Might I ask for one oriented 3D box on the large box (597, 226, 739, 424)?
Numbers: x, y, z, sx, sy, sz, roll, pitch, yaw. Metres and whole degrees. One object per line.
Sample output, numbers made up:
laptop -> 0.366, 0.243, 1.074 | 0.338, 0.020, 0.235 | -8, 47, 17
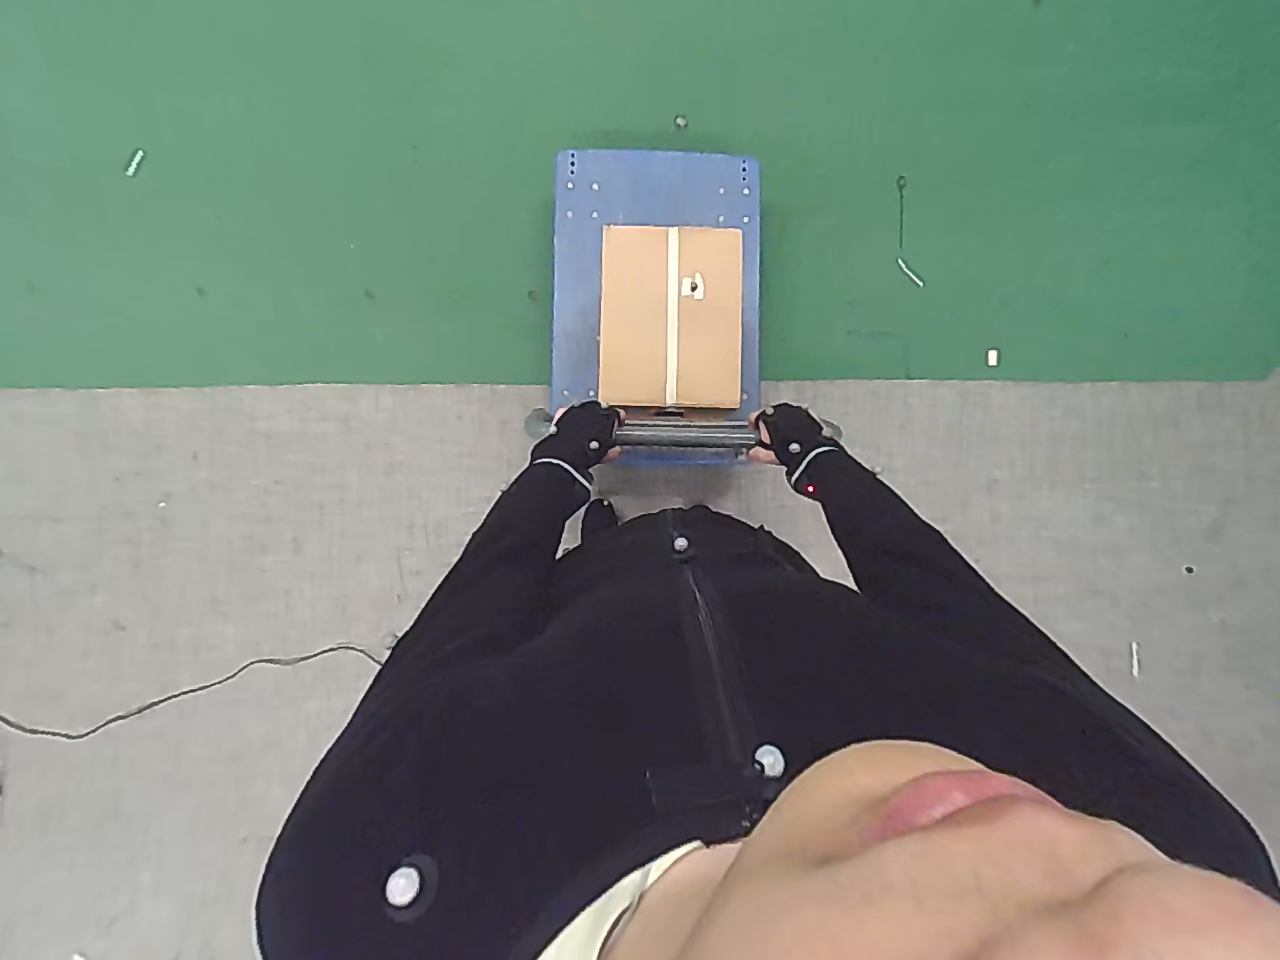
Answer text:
large box -> 0.061, -0.359, 1.345 | 0.320, 0.320, 0.408 | 1, 87, -2
